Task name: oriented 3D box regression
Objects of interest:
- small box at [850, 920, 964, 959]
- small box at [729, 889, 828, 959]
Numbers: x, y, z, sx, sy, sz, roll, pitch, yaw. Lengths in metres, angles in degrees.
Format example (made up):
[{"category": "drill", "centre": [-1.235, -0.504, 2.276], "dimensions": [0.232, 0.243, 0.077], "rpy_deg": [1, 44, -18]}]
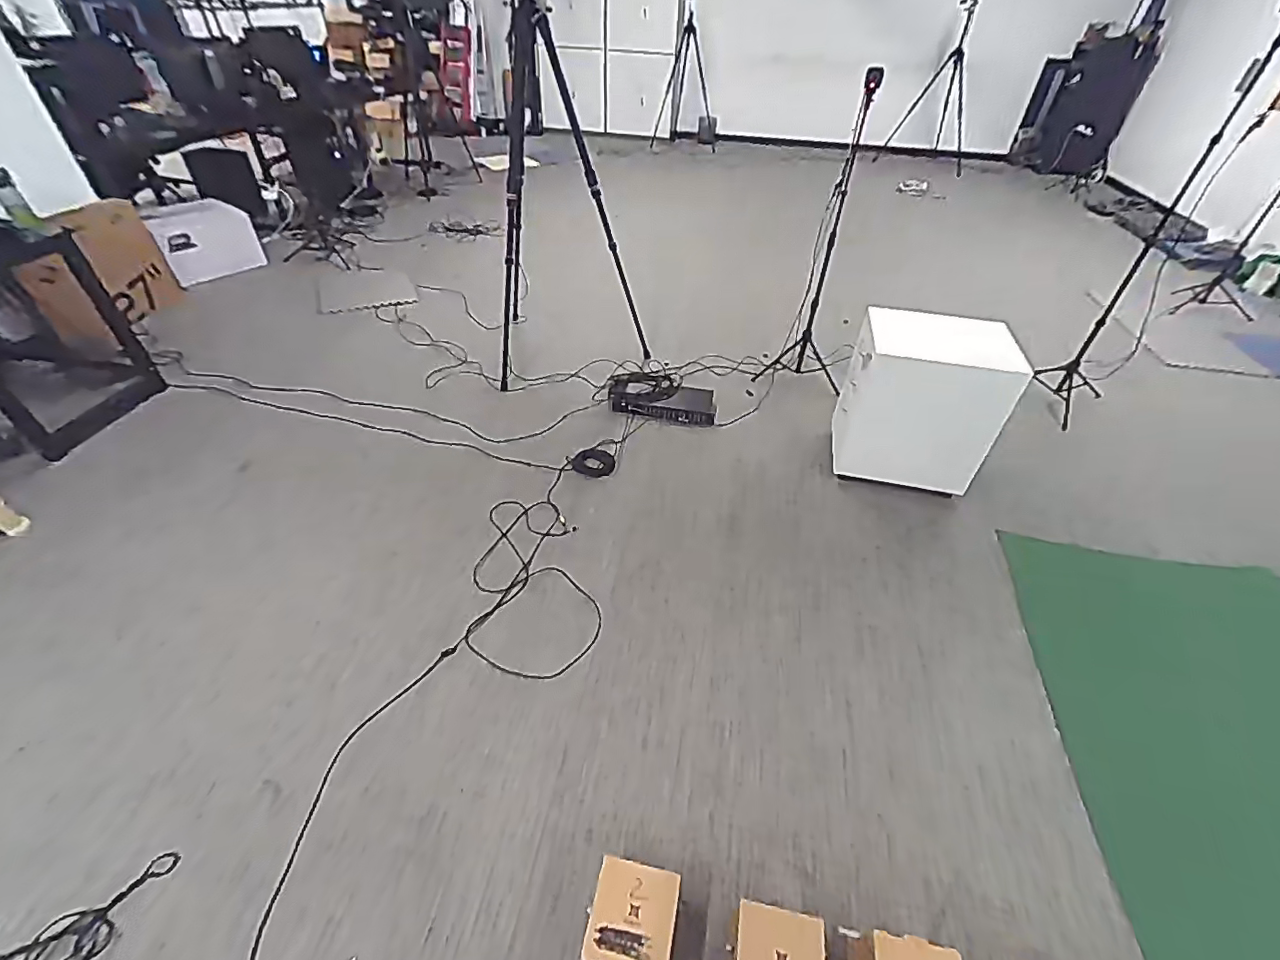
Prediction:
[{"category": "small box", "centre": [0.516, 0.987, 1.037], "dimensions": [0.168, 0.176, 0.179], "rpy_deg": [8, 42, 6]}, {"category": "small box", "centre": [0.266, 0.948, 1.063], "dimensions": [0.168, 0.176, 0.179], "rpy_deg": [8, 43, 8]}]
